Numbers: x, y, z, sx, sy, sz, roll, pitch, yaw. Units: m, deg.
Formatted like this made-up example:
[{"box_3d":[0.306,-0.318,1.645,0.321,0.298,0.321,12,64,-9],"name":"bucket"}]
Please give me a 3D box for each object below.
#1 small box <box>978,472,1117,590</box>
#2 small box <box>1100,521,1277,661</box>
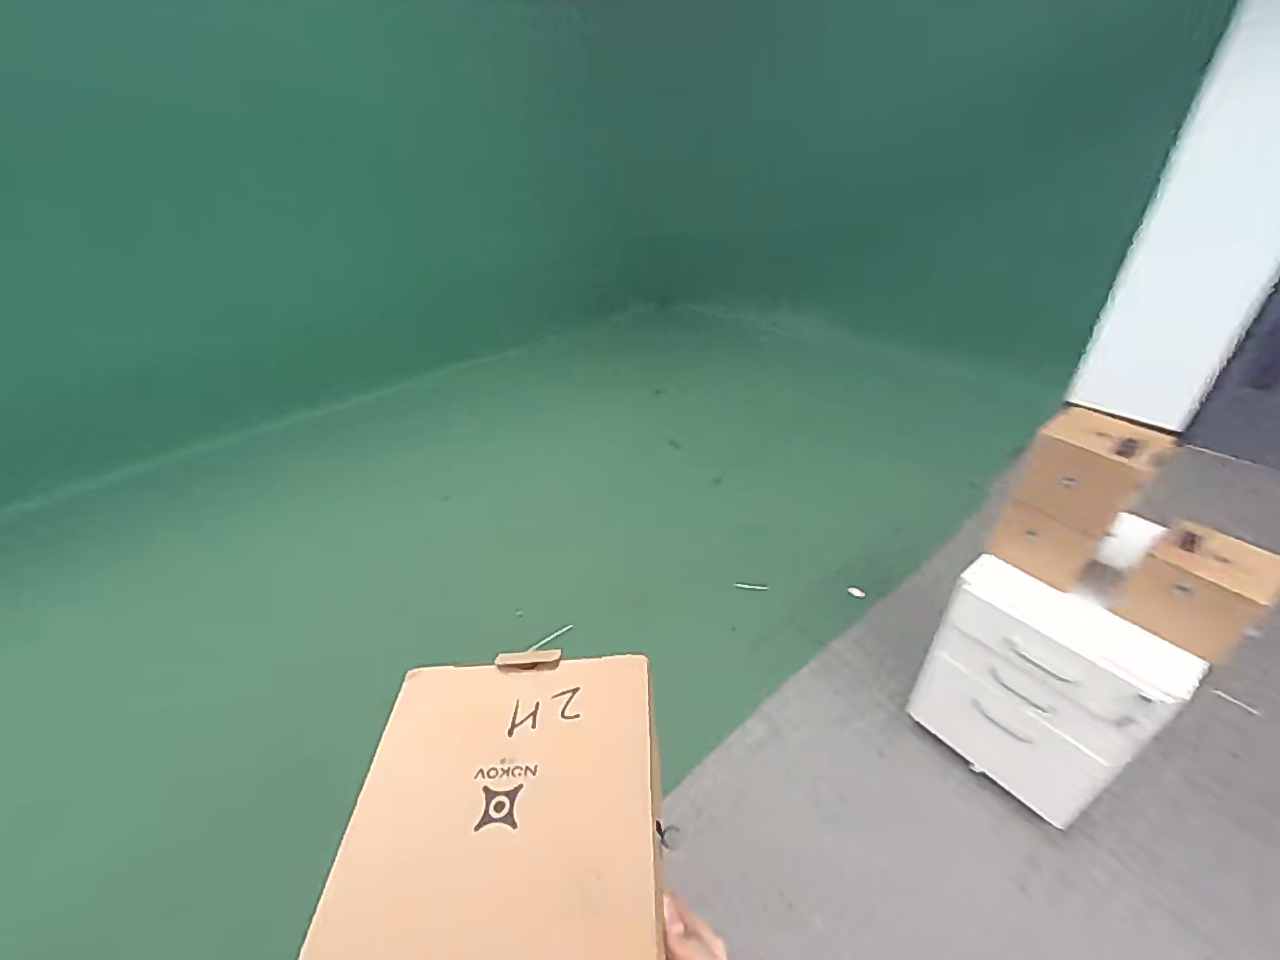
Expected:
[{"box_3d":[0.907,0.114,1.220,0.168,0.176,0.179,-27,43,-27],"name":"small box"},{"box_3d":[1.065,0.216,1.065,0.168,0.176,0.179,-25,41,-26],"name":"small box"}]
